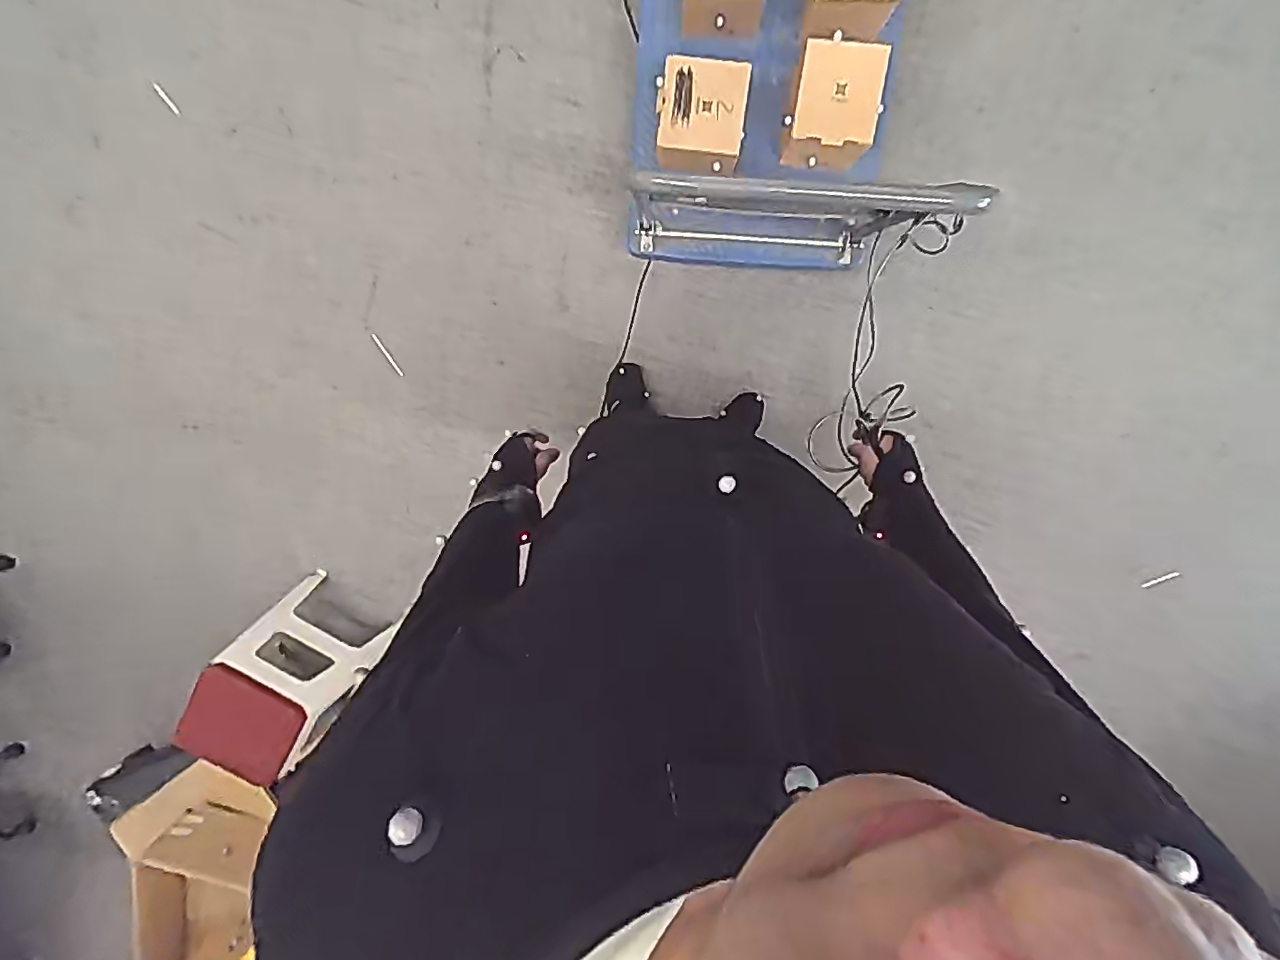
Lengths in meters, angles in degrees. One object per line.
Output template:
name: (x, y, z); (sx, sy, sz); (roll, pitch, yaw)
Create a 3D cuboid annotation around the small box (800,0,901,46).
small box: (0.429, -1.022, 1.093); (0.168, 0.176, 0.179); (3, 105, 5)

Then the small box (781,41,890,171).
small box: (0.407, -0.789, 1.156); (0.168, 0.176, 0.179); (6, 105, 3)

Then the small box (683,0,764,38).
small box: (0.174, -1.046, 1.108); (0.168, 0.176, 0.179); (2, 104, 3)
